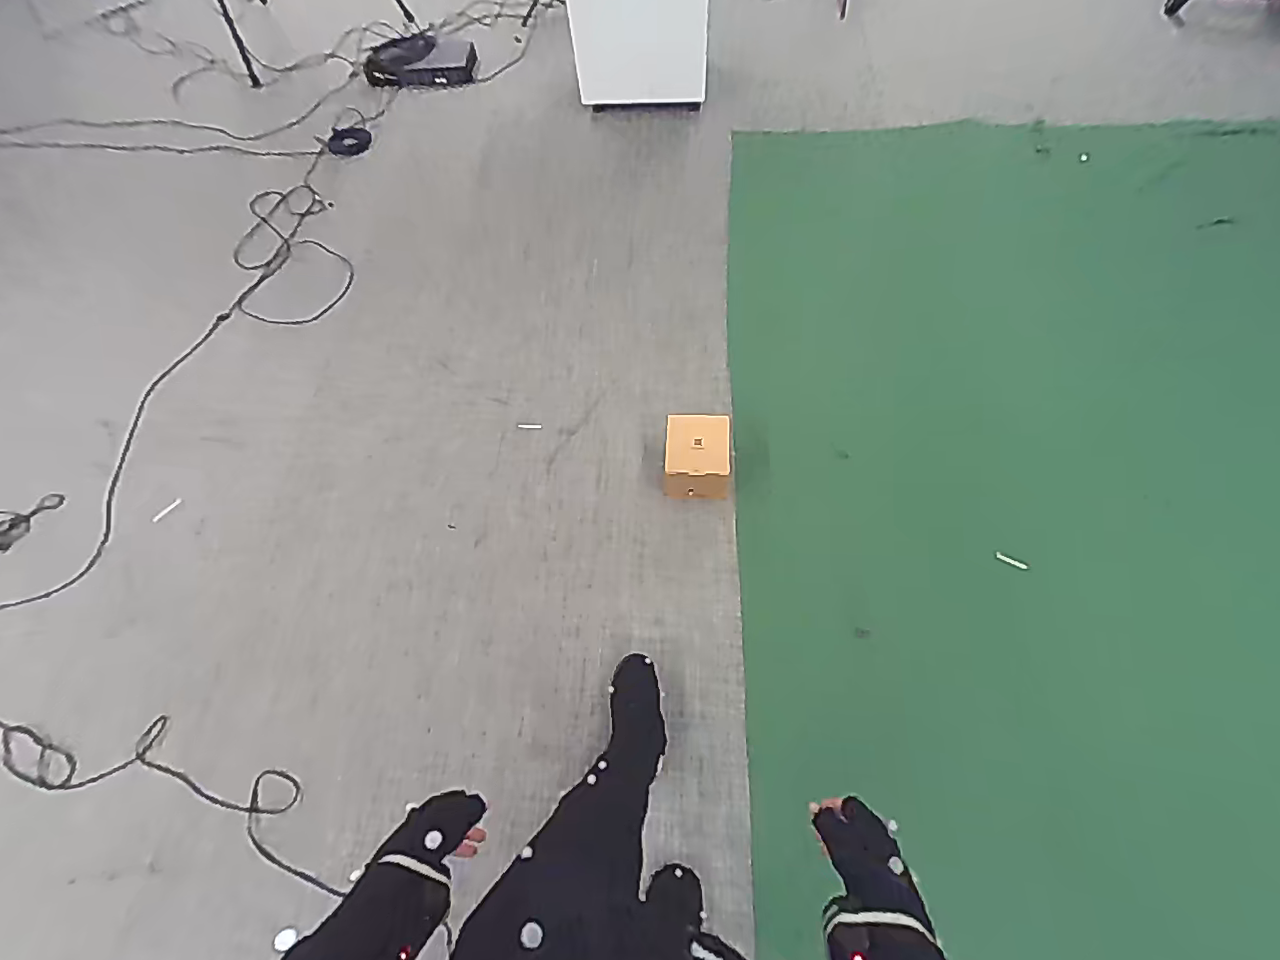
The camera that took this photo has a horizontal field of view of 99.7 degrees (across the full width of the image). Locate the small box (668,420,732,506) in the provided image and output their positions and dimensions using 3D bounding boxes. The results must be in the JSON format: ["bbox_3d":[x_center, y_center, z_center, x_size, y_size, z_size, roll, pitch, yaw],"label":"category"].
[{"bbox_3d":[0.162,-0.045,1.481,0.168,0.176,0.179,2,65,5],"label":"small box"}]
